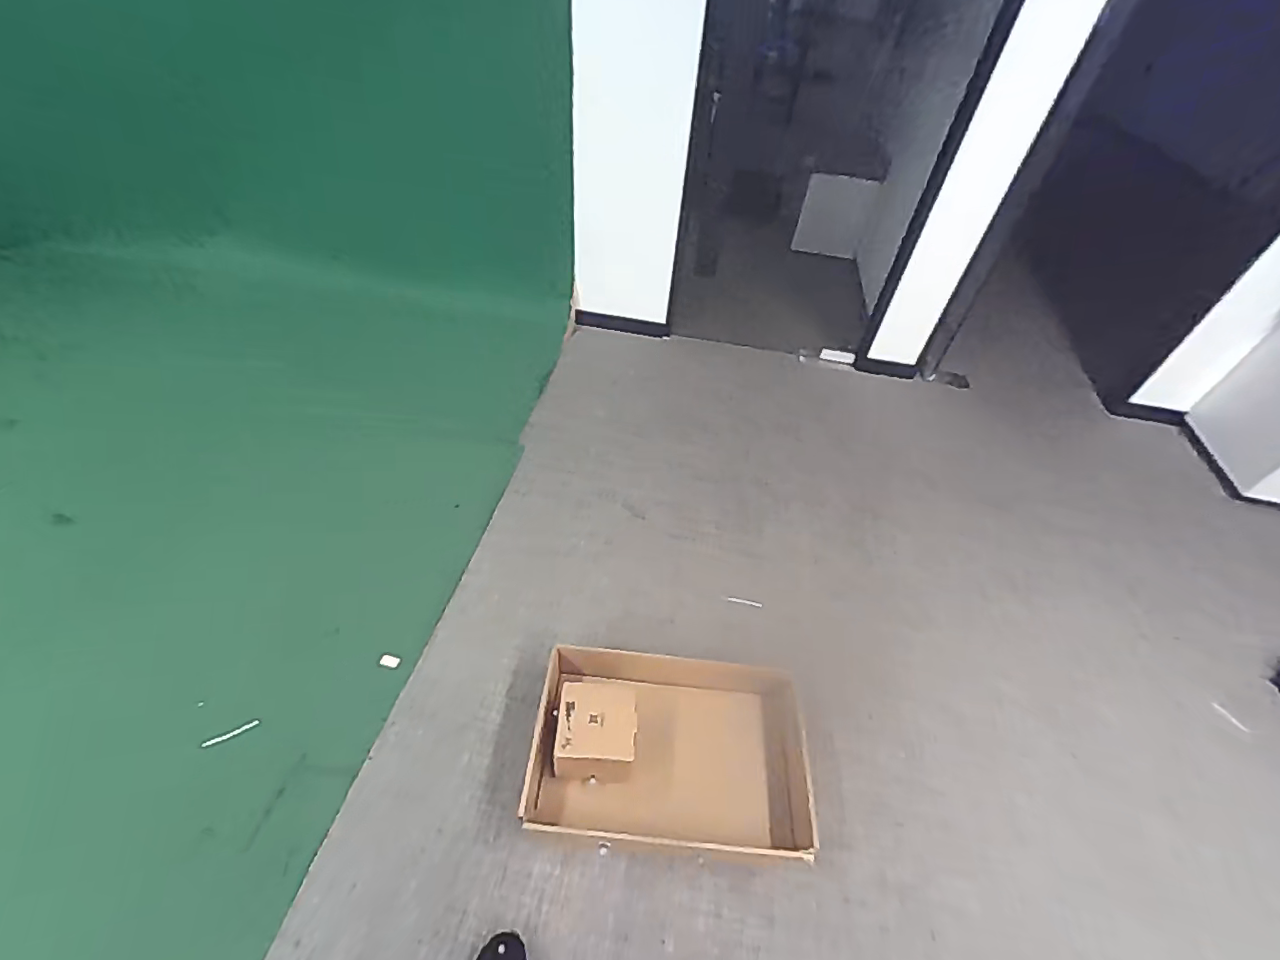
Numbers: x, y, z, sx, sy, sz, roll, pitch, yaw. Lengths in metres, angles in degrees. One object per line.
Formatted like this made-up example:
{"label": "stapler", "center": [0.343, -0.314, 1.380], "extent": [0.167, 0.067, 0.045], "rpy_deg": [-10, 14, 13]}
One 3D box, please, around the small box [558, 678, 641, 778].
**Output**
{"label": "small box", "center": [-0.096, 0.587, 1.273], "extent": [0.179, 0.176, 0.168], "rpy_deg": [5, 46, -3]}
